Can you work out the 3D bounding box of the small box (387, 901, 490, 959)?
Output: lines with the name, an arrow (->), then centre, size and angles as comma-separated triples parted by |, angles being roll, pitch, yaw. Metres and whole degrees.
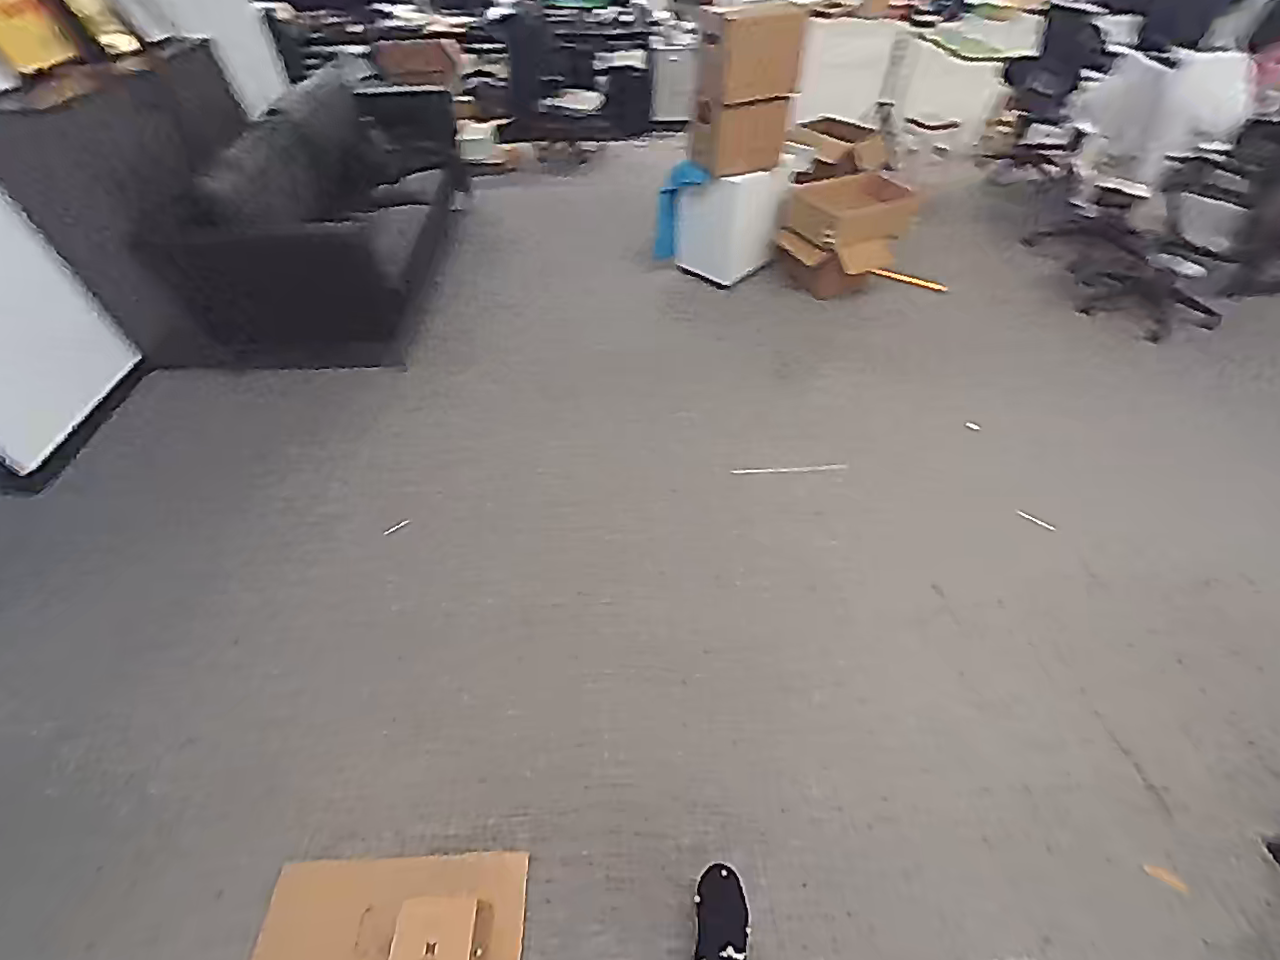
small box -> -0.427, 1.014, 1.154 | 0.168, 0.176, 0.179 | -1, 48, -1
